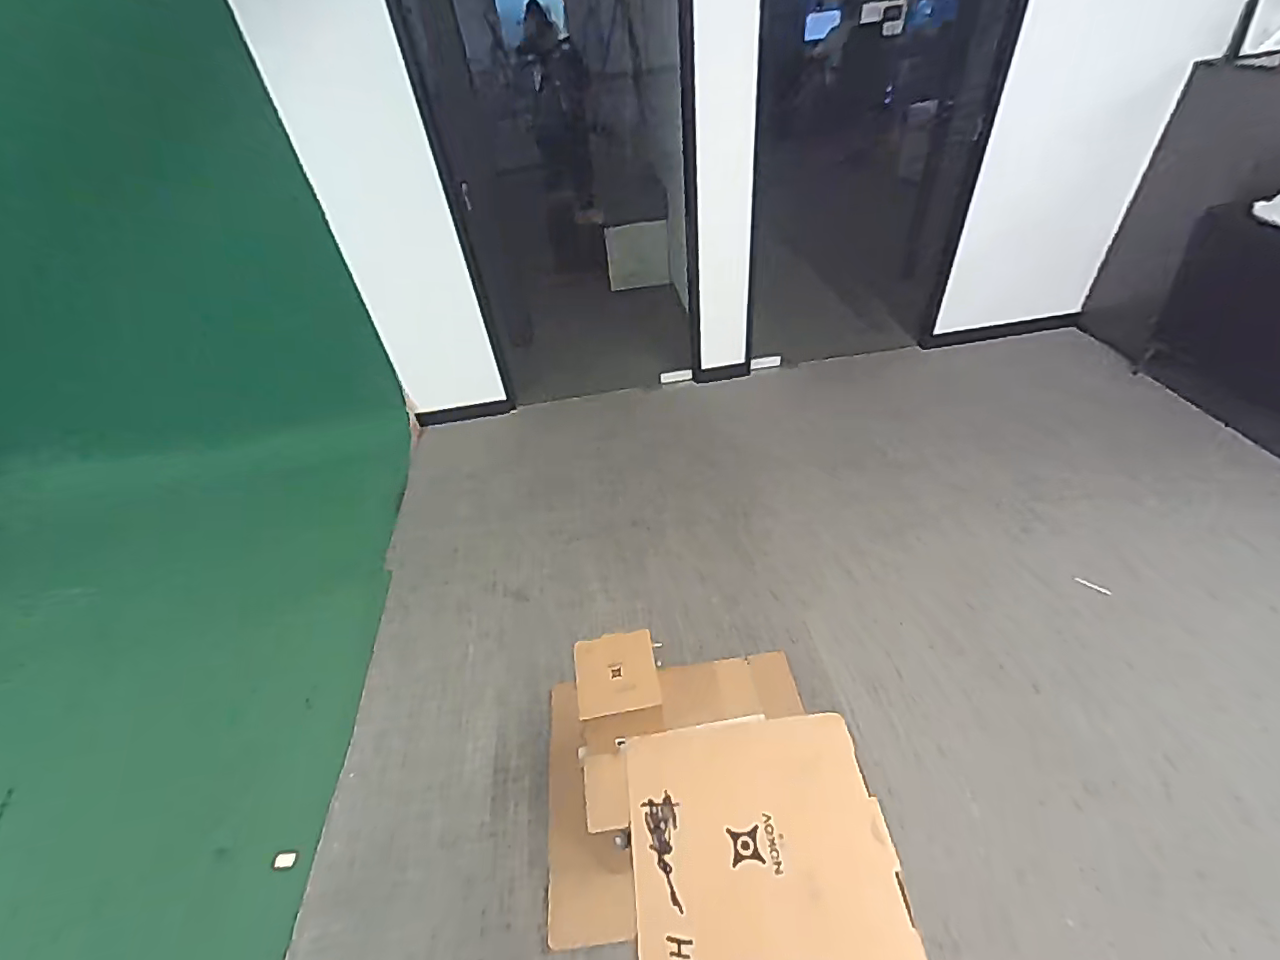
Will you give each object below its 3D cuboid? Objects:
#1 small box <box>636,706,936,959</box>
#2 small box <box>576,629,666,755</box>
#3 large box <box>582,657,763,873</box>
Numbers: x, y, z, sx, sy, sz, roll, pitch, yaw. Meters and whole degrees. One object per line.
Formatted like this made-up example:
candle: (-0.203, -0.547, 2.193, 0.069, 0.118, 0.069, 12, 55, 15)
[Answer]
small box: (0.090, 0.299, 0.428, 0.179, 0.176, 0.168, -5, 44, 0)
small box: (-0.040, 0.448, 1.146, 0.168, 0.176, 0.179, -10, 41, -3)
large box: (0.087, 0.660, 1.258, 0.408, 0.320, 0.320, -8, 42, -3)
